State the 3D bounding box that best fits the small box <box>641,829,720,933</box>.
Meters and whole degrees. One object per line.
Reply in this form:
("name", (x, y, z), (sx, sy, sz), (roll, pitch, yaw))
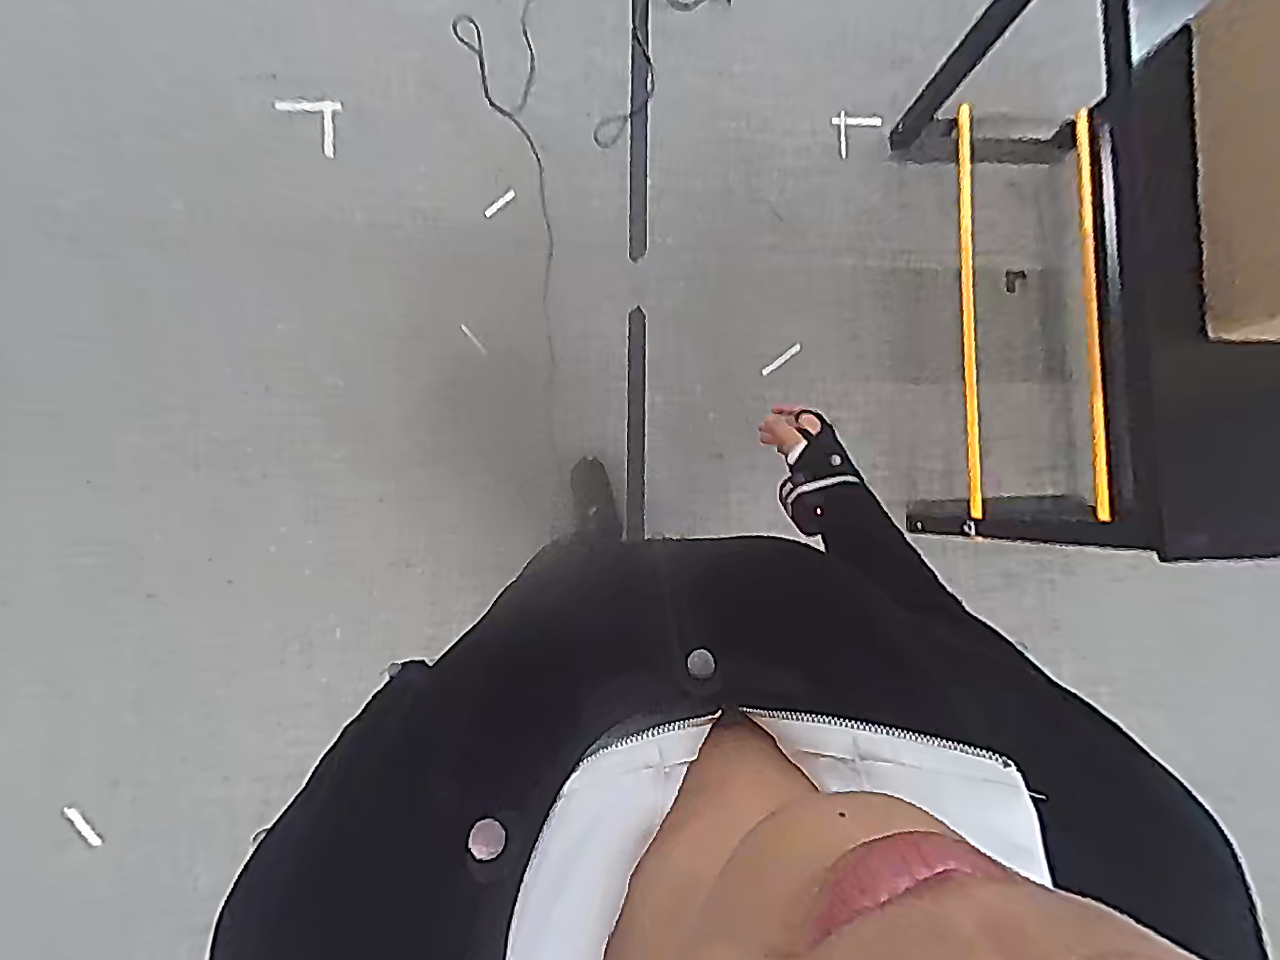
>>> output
("small box", (0.099, 1.024, 1.381), (0.179, 0.176, 0.168), (3, 87, -3))
